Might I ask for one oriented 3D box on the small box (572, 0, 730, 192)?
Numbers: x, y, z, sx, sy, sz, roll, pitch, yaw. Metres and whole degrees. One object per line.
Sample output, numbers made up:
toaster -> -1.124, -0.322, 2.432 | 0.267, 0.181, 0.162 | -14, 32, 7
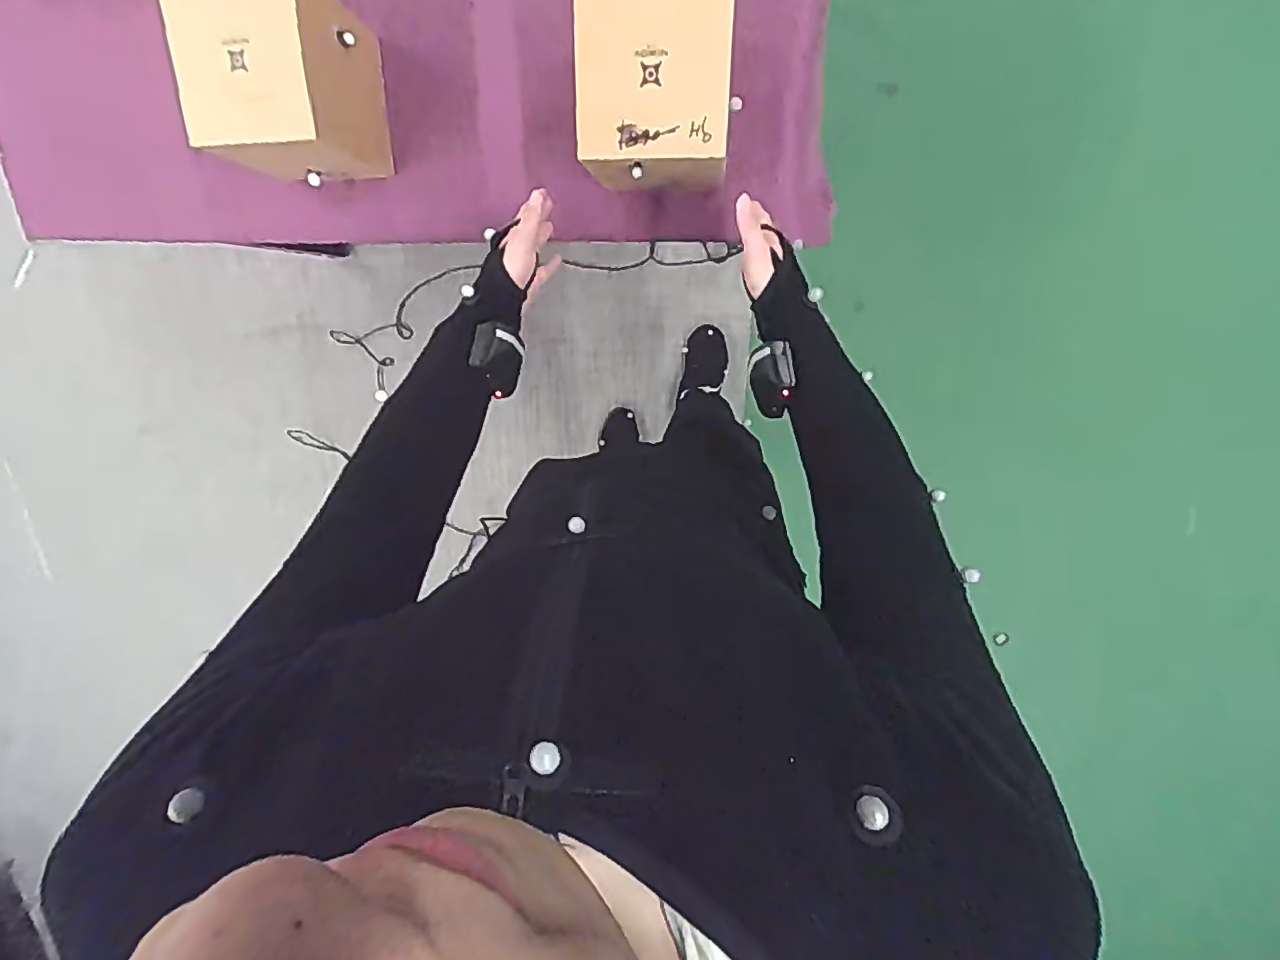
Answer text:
small box -> 0.018, -0.460, 0.648 | 0.168, 0.176, 0.179 | 4, 109, 8

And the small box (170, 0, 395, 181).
small box -> -0.445, -0.505, 0.700 | 0.168, 0.176, 0.179 | 3, 107, 8
